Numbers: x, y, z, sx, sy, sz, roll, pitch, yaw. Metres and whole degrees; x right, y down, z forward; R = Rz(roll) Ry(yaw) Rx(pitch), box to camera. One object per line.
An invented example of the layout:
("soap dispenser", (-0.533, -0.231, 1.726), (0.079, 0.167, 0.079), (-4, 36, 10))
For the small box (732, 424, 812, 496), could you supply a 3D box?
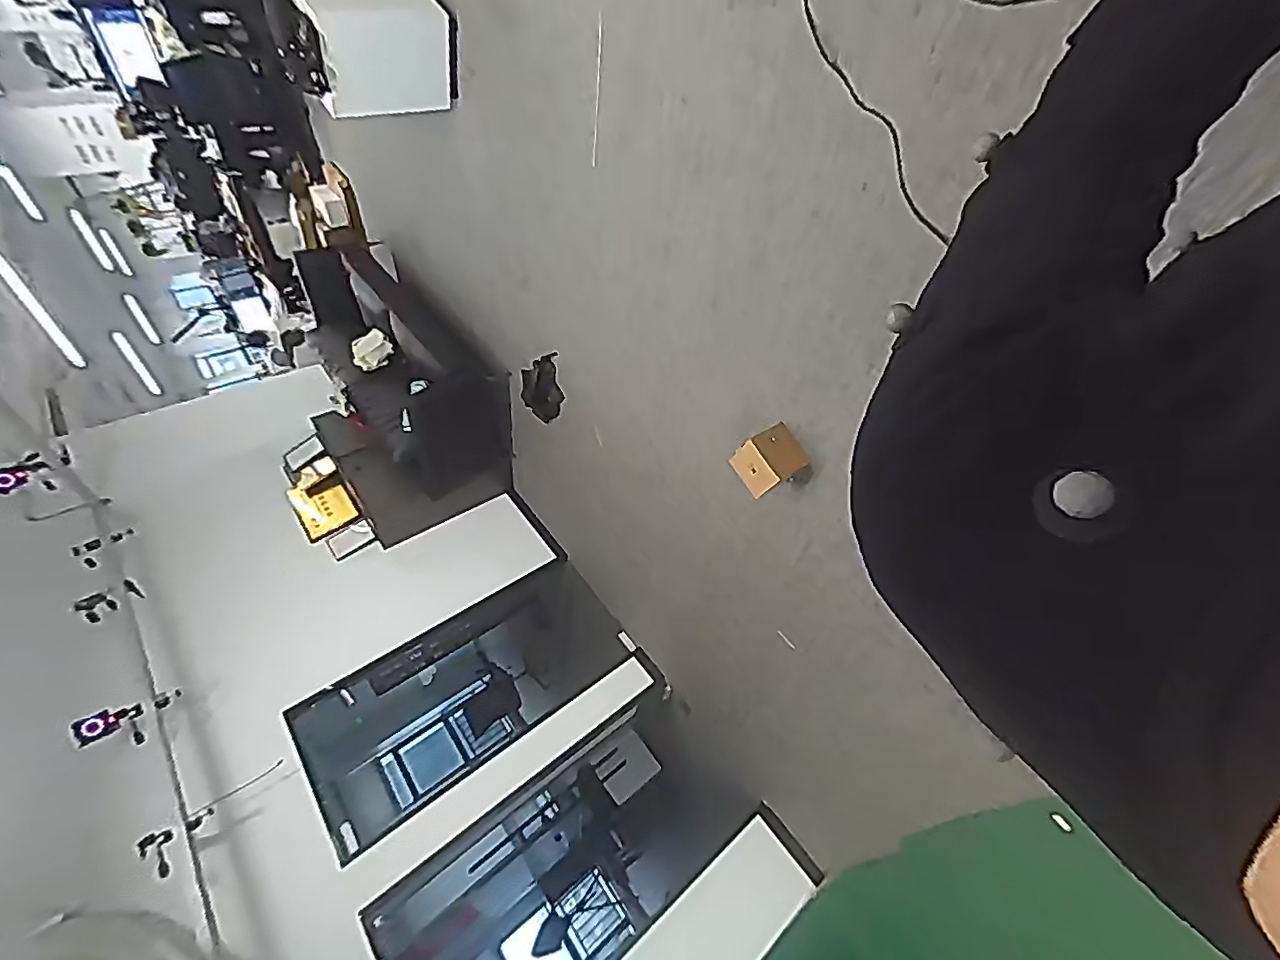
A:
("small box", (0.462, -0.076, 1.895), (0.179, 0.176, 0.168), (55, 151, 12))
